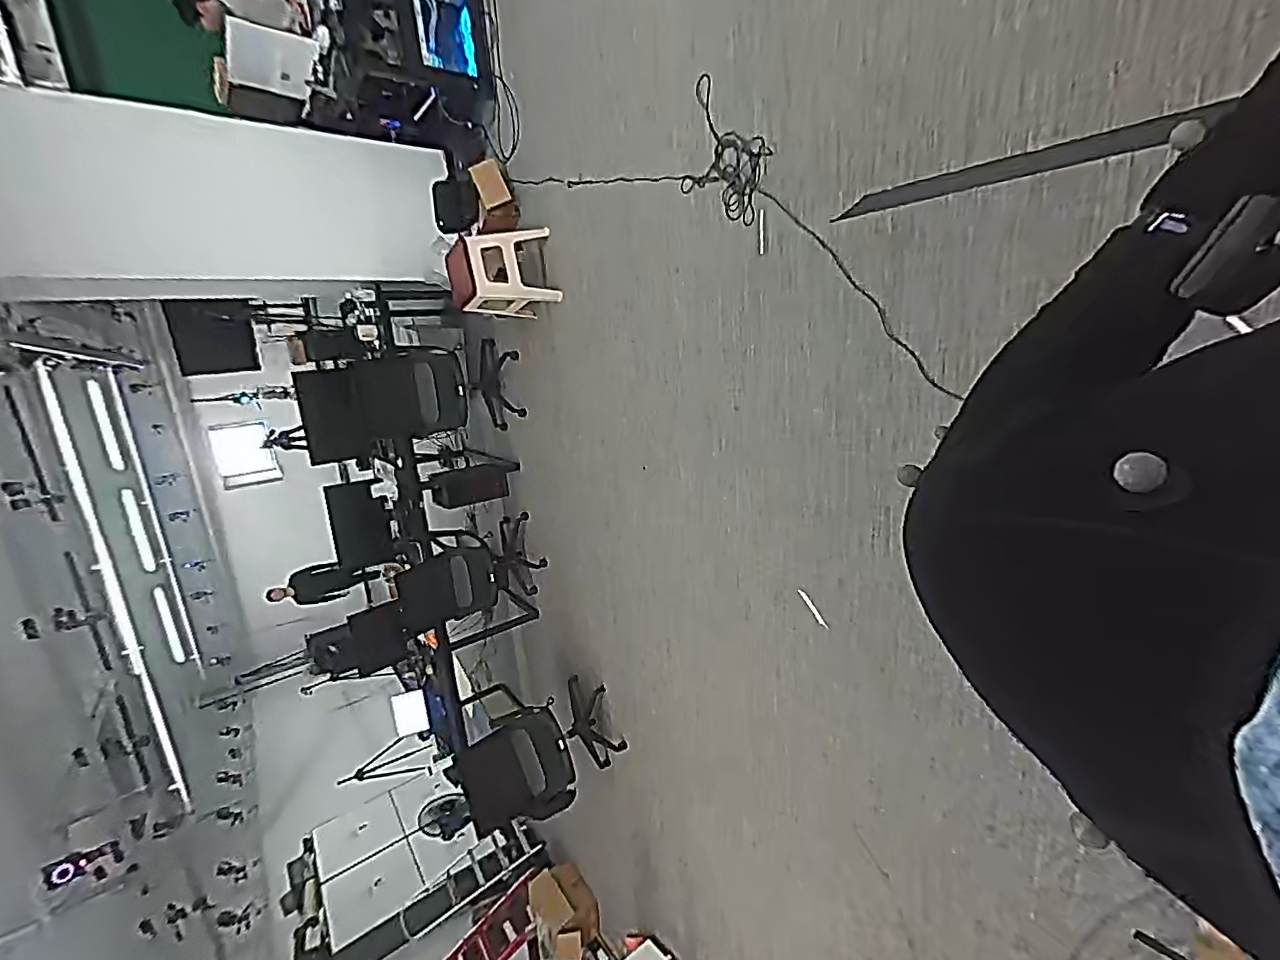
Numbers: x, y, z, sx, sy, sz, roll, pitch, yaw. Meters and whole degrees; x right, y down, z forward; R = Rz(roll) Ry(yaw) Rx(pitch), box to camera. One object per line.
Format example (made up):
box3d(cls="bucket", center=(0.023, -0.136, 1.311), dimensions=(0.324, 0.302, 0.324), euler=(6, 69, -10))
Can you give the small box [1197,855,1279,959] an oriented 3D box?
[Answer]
box3d(cls="small box", center=(1.262, 0.918, 1.091), dimensions=(0.168, 0.176, 0.179), euler=(8, 109, 54))
